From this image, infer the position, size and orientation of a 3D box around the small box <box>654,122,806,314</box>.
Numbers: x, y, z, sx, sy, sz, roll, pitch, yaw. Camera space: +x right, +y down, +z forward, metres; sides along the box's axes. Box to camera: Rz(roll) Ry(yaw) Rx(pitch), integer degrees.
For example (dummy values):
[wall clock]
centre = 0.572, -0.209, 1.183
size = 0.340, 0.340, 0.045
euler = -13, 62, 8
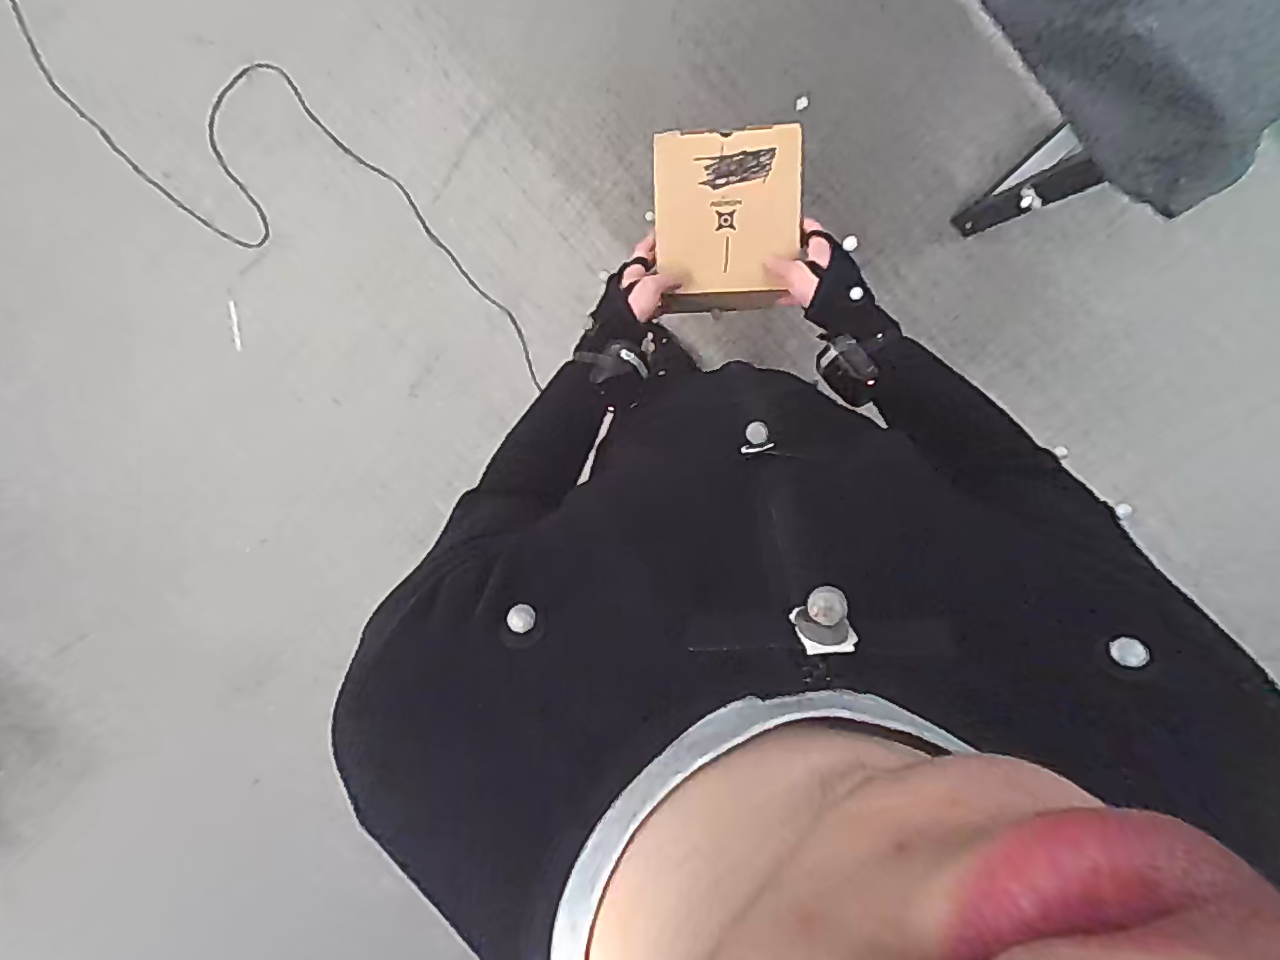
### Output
[small box]
centre = 0.103, -0.311, 0.675
size = 0.168, 0.176, 0.179
euler = 0, 100, 5
